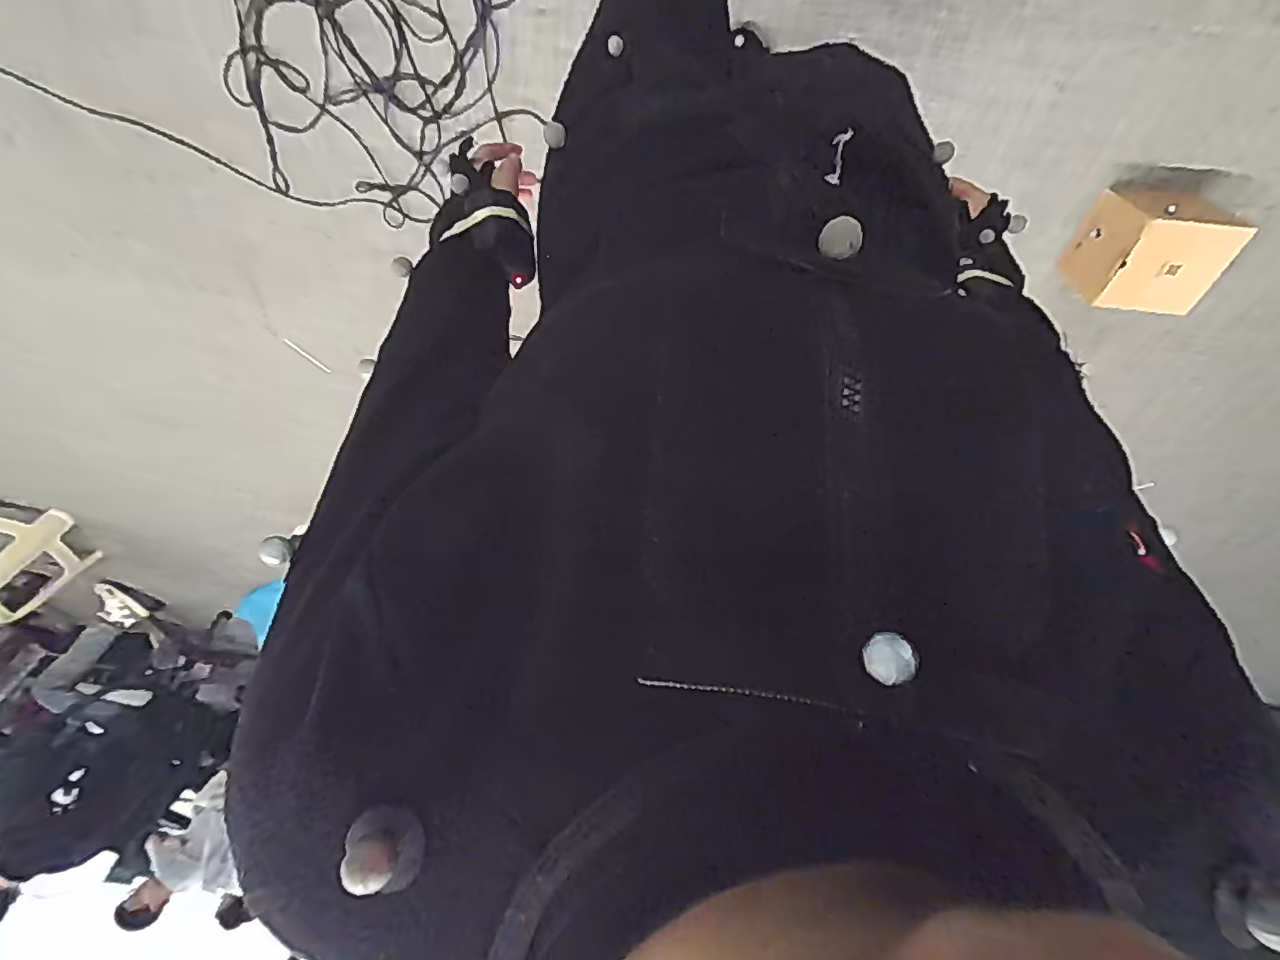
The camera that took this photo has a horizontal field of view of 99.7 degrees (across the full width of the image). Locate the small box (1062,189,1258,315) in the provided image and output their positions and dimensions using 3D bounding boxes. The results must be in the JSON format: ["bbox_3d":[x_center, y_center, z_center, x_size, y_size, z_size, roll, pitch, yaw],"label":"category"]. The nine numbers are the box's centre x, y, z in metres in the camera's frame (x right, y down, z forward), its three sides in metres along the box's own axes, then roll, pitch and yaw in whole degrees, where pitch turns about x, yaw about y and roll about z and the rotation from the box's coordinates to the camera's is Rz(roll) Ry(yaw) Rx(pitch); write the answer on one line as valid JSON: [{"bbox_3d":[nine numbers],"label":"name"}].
[{"bbox_3d":[0.965,-0.435,1.027,0.179,0.176,0.168,7,136,4],"label":"small box"}]
